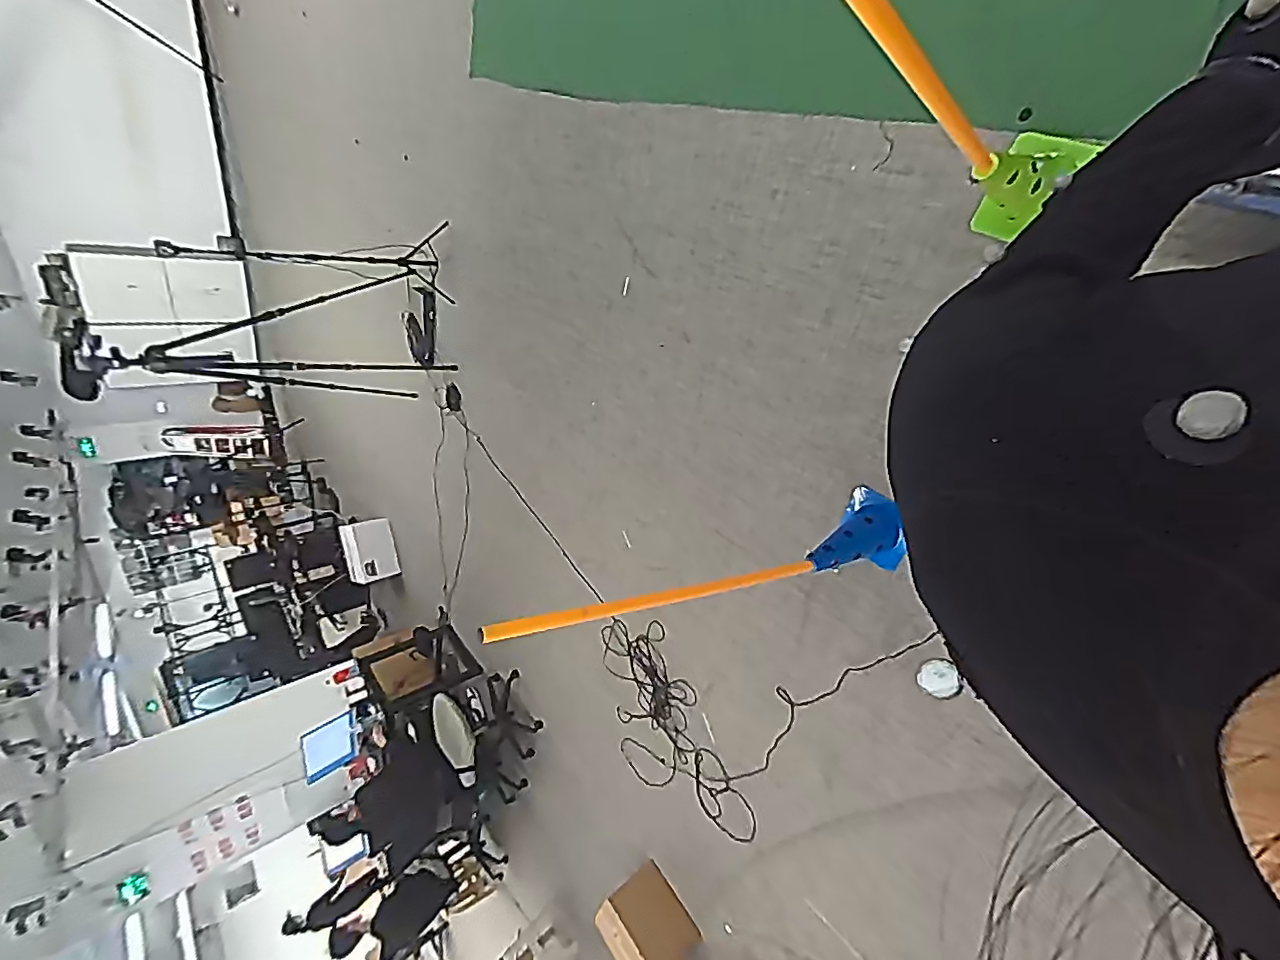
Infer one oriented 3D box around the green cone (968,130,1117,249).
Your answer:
[{"bbox_3d":[0.729,-0.590,1.049,0.202,0.368,0.200,41,129,34],"label":"green cone"}]
